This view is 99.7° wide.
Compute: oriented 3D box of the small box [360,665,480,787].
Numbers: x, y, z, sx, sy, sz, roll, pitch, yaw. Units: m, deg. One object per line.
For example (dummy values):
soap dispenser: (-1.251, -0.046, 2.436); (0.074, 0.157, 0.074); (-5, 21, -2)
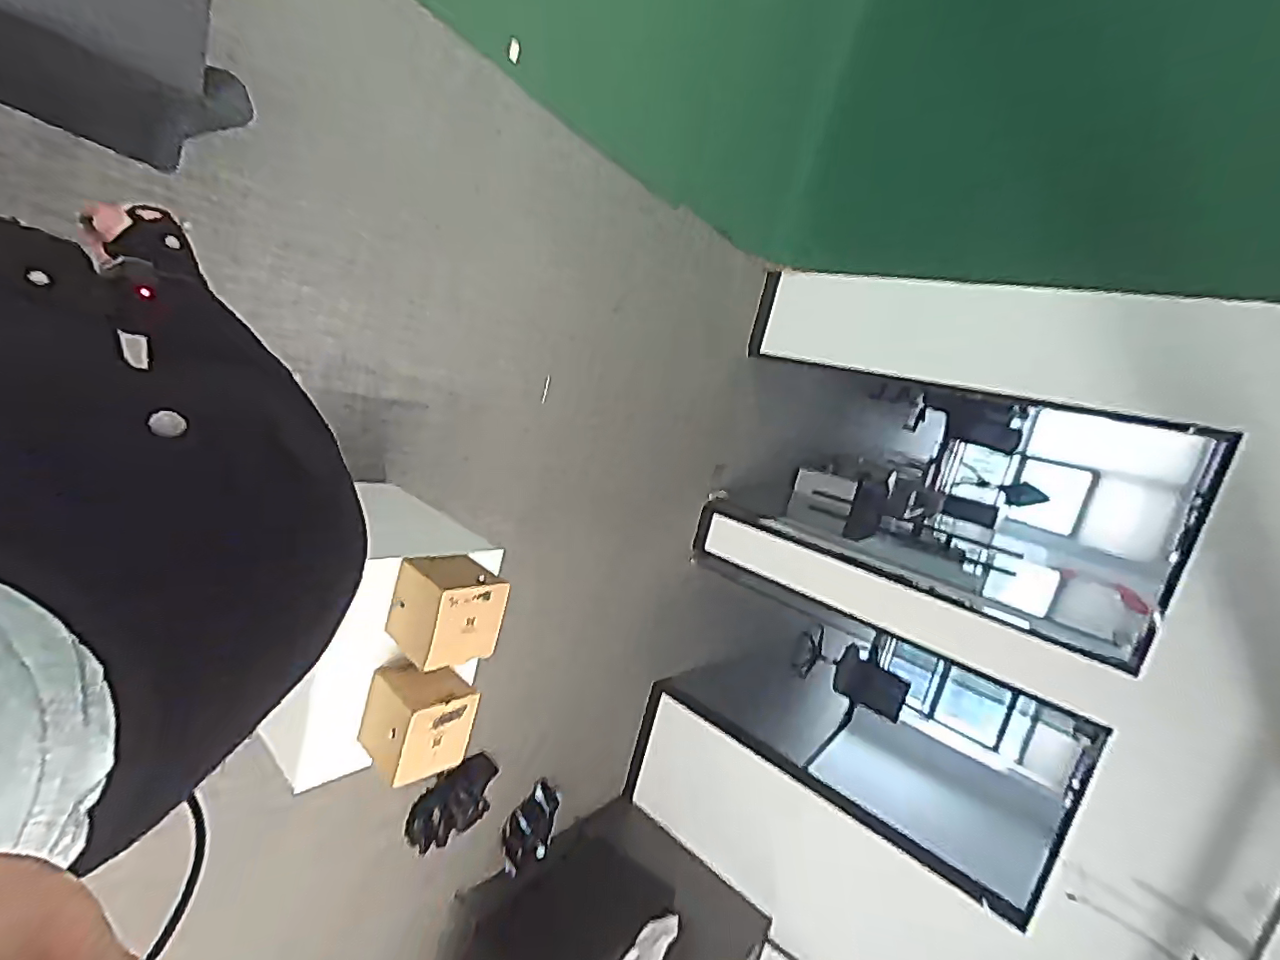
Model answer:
small box: (-0.486, 0.519, 1.188); (0.168, 0.176, 0.179); (7, 102, -53)

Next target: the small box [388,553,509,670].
small box: (-0.413, 0.272, 1.156); (0.168, 0.176, 0.179); (5, 105, -53)
